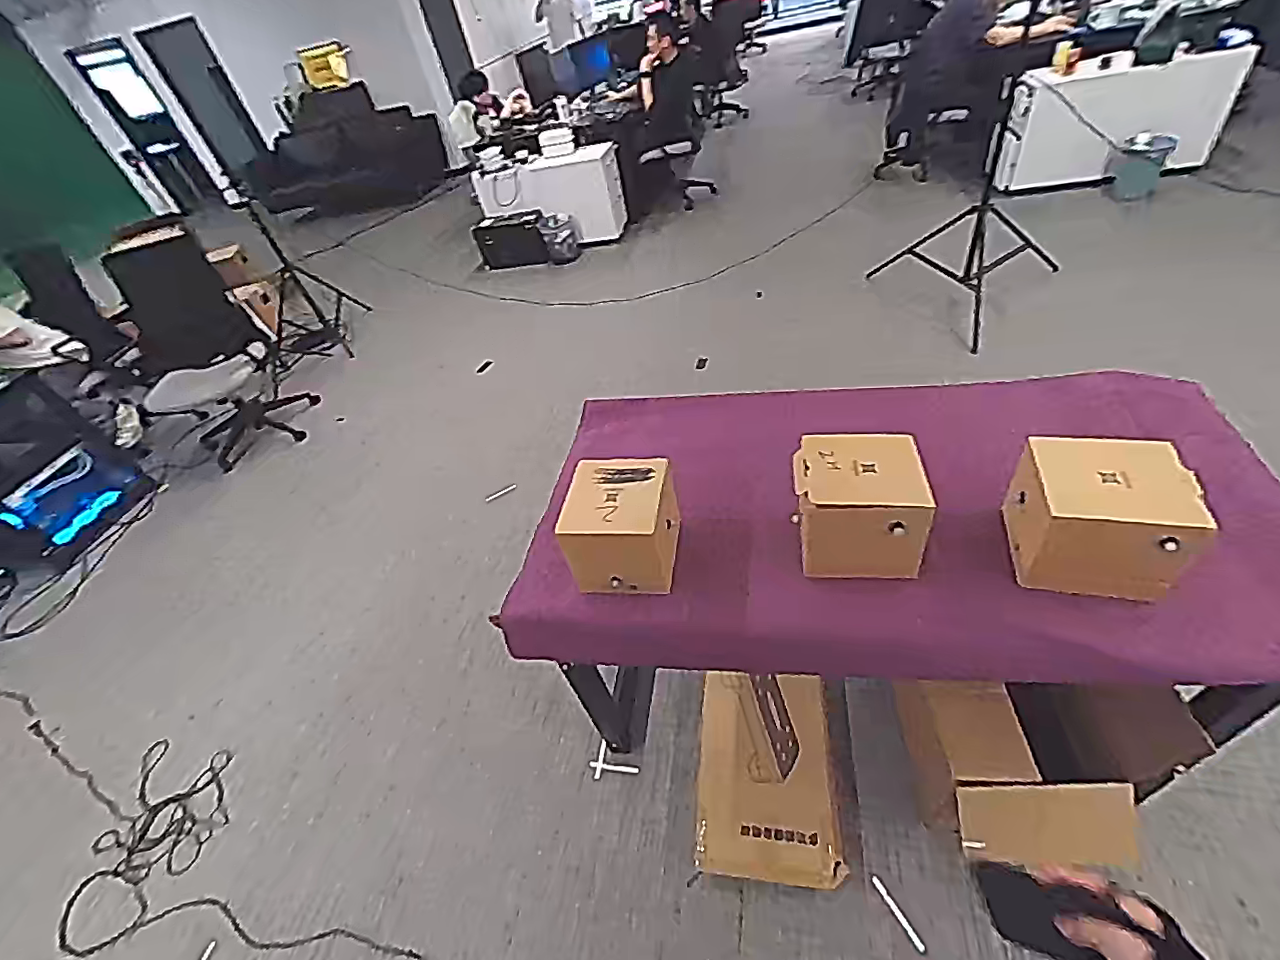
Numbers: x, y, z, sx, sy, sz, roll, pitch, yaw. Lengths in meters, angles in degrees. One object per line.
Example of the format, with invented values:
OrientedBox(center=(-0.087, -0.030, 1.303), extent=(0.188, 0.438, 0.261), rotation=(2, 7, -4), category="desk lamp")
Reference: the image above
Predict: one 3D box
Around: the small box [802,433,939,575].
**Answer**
OrientedBox(center=(0.361, 0.041, 0.883), extent=(0.179, 0.176, 0.168), rotation=(-2, 42, 14), category="small box")

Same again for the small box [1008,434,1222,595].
OrientedBox(center=(0.666, 0.051, 0.792), extent=(0.179, 0.176, 0.168), rotation=(4, 46, 19), category="small box")
